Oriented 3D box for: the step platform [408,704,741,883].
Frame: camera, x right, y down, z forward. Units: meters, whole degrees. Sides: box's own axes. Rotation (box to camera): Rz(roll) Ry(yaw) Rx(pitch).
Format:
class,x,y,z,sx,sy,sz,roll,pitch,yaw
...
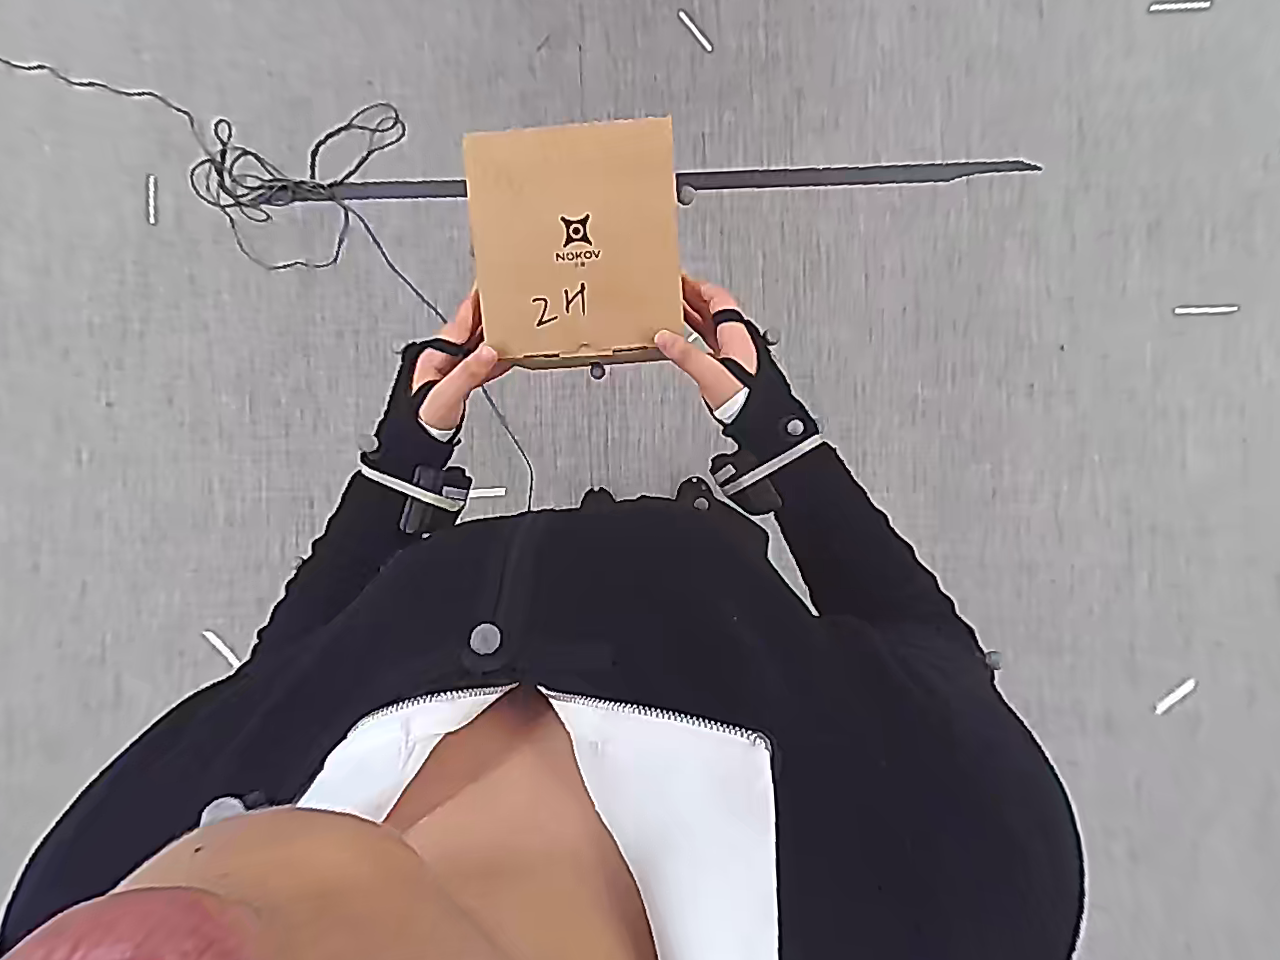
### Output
class,x,y,z,sx,sy,sz,roll,pitch,yaw
step platform,-0.133,0.672,1.189,0.684,0.204,0.286,-3,90,3
